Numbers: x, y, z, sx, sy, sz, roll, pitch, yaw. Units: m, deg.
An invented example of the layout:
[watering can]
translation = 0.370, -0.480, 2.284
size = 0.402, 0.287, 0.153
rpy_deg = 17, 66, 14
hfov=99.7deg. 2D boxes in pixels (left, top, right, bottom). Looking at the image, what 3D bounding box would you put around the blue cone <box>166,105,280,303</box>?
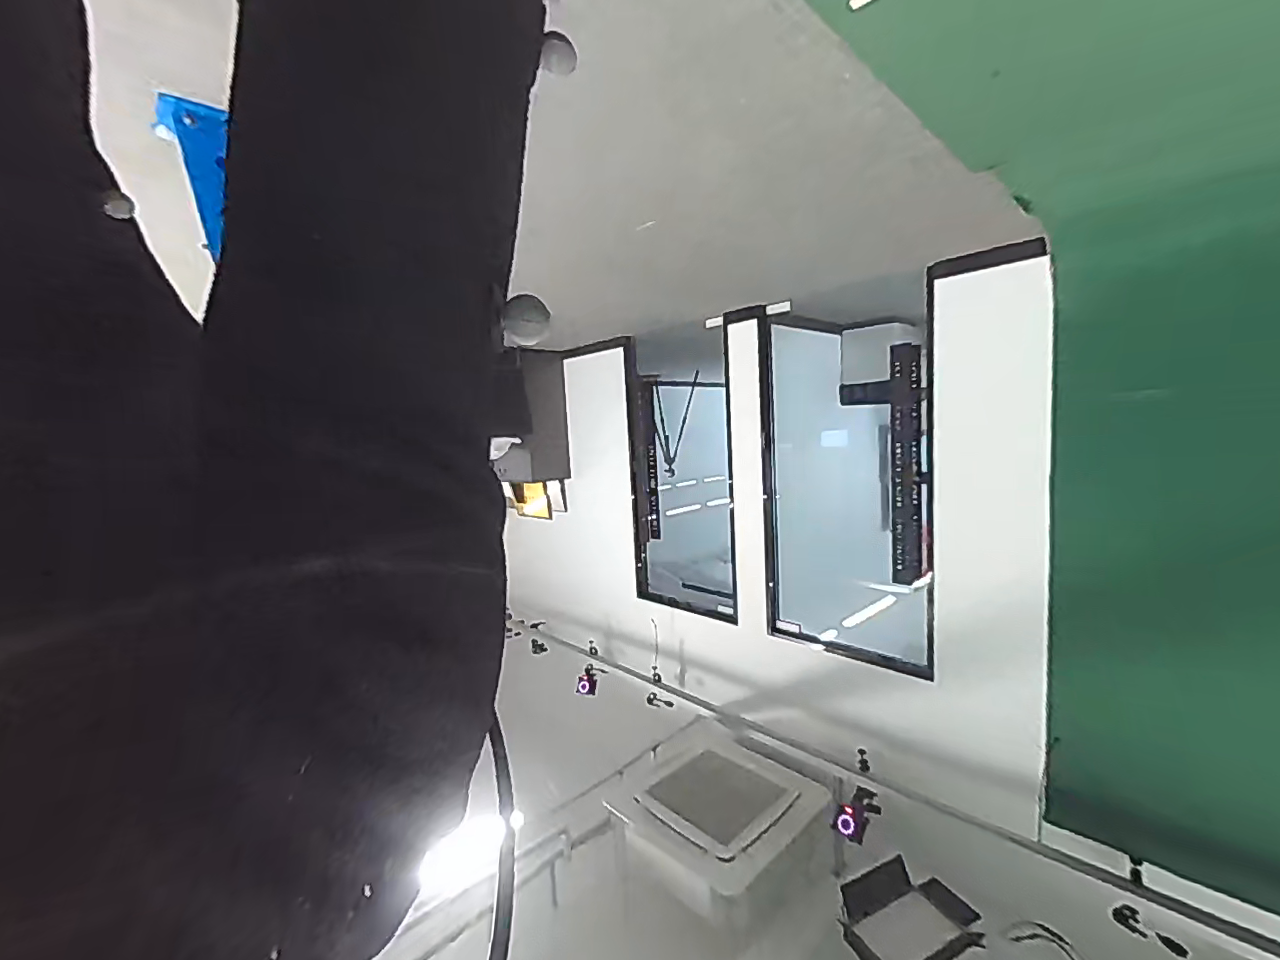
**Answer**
[blue cone]
translation = -0.899, -0.590, 1.197
size = 0.192, 0.380, 0.193
rpy_deg = -9, -172, -44
